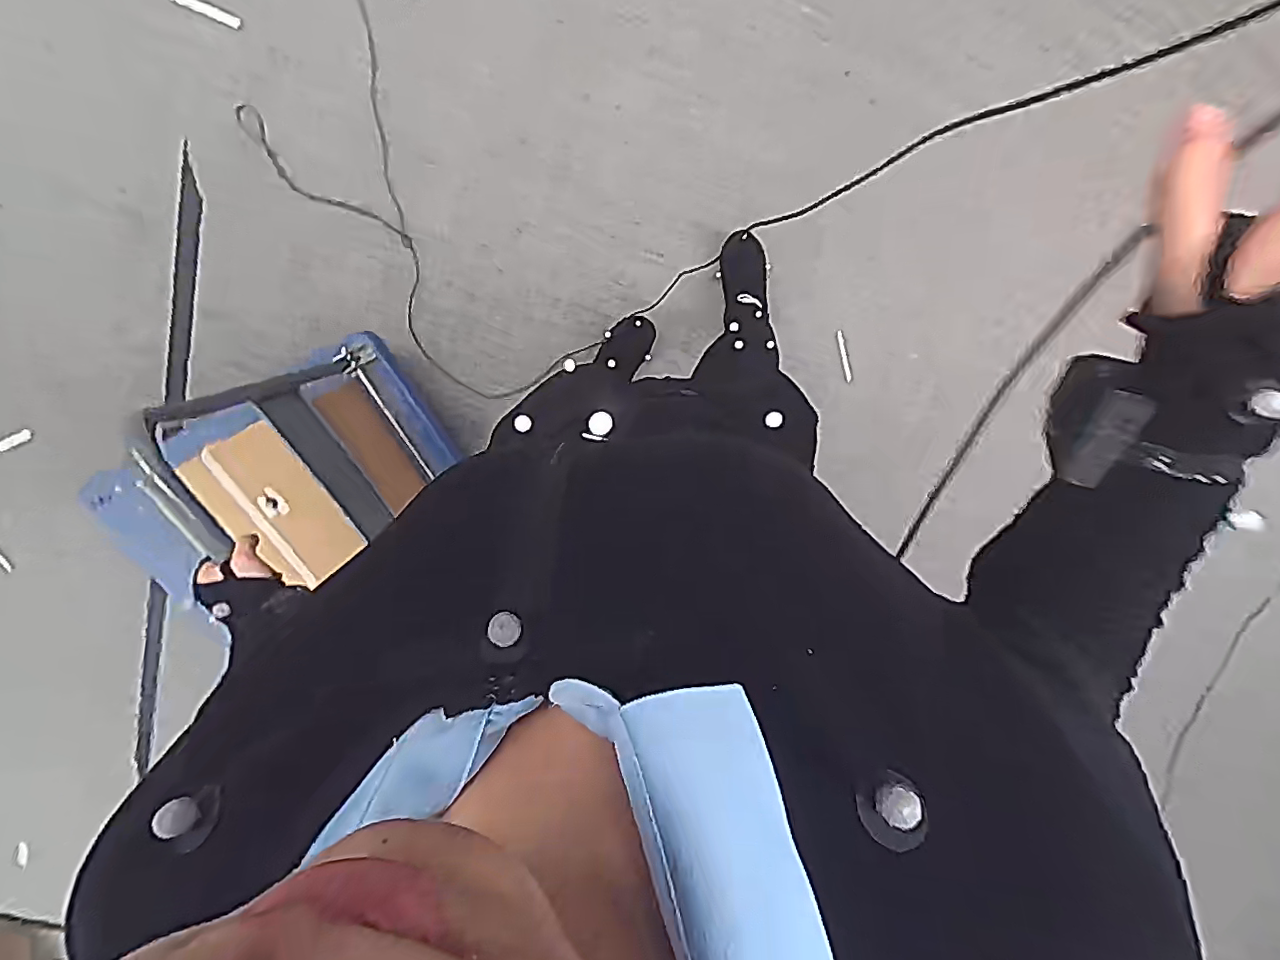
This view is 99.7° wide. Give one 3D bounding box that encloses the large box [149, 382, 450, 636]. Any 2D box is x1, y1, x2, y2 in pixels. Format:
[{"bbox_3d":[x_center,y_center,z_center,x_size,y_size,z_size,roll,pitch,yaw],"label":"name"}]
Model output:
[{"bbox_3d":[-0.695,0.051,1.187,0.320,0.320,0.408,-25,109,7],"label":"large box"}]
